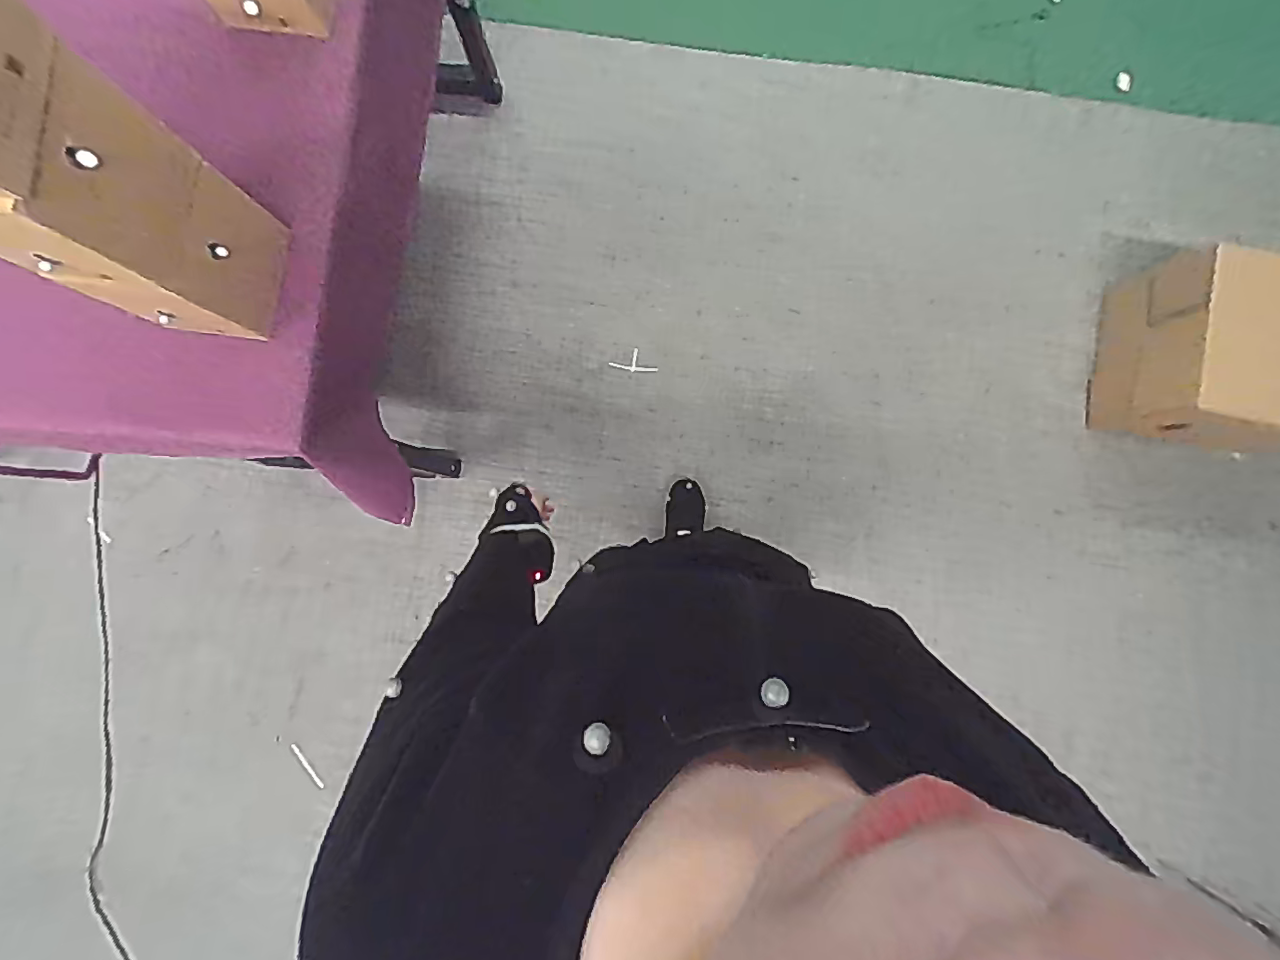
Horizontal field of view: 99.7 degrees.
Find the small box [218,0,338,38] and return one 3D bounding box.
[{"bbox_3d":[-0.547,-0.789,0.768,0.168,0.176,0.179,8,87,2],"label":"small box"}]

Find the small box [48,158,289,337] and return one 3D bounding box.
[{"bbox_3d":[-0.616,-0.309,0.731,0.168,0.176,0.179,8,85,1],"label":"small box"}]

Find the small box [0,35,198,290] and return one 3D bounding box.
[{"bbox_3d":[-0.619,-0.327,0.569,0.168,0.176,0.179,8,87,1],"label":"small box"}]

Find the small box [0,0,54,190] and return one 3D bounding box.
[{"bbox_3d":[-0.618,-0.342,0.407,0.179,0.176,0.168,6,86,2],"label":"small box"}]
